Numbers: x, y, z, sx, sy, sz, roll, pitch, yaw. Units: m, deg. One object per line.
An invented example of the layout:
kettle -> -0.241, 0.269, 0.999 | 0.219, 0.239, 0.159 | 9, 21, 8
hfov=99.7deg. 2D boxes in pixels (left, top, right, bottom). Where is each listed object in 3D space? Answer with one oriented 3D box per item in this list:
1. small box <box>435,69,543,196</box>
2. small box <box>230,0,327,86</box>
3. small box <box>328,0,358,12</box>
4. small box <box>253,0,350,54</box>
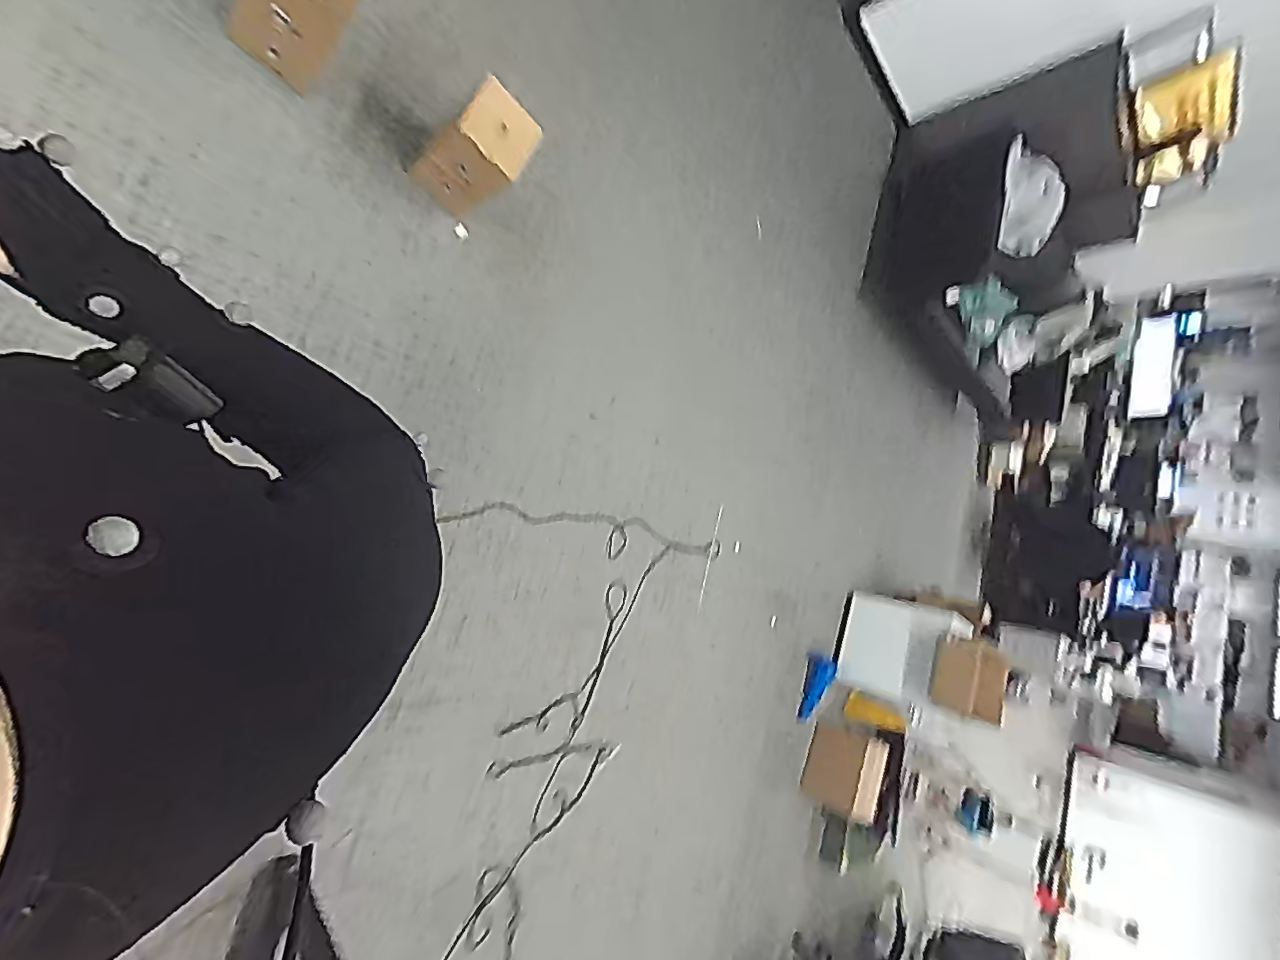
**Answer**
small box -> -0.376, -0.849, 1.337 | 0.168, 0.176, 0.179 | 34, 71, -39
small box -> -0.765, -1.022, 1.183 | 0.168, 0.176, 0.179 | 30, 74, -41
small box -> -0.540, -0.997, 0.947 | 0.168, 0.176, 0.179 | 25, 76, -40
small box -> -0.653, -1.010, 1.067 | 0.168, 0.176, 0.179 | 25, 77, -40
